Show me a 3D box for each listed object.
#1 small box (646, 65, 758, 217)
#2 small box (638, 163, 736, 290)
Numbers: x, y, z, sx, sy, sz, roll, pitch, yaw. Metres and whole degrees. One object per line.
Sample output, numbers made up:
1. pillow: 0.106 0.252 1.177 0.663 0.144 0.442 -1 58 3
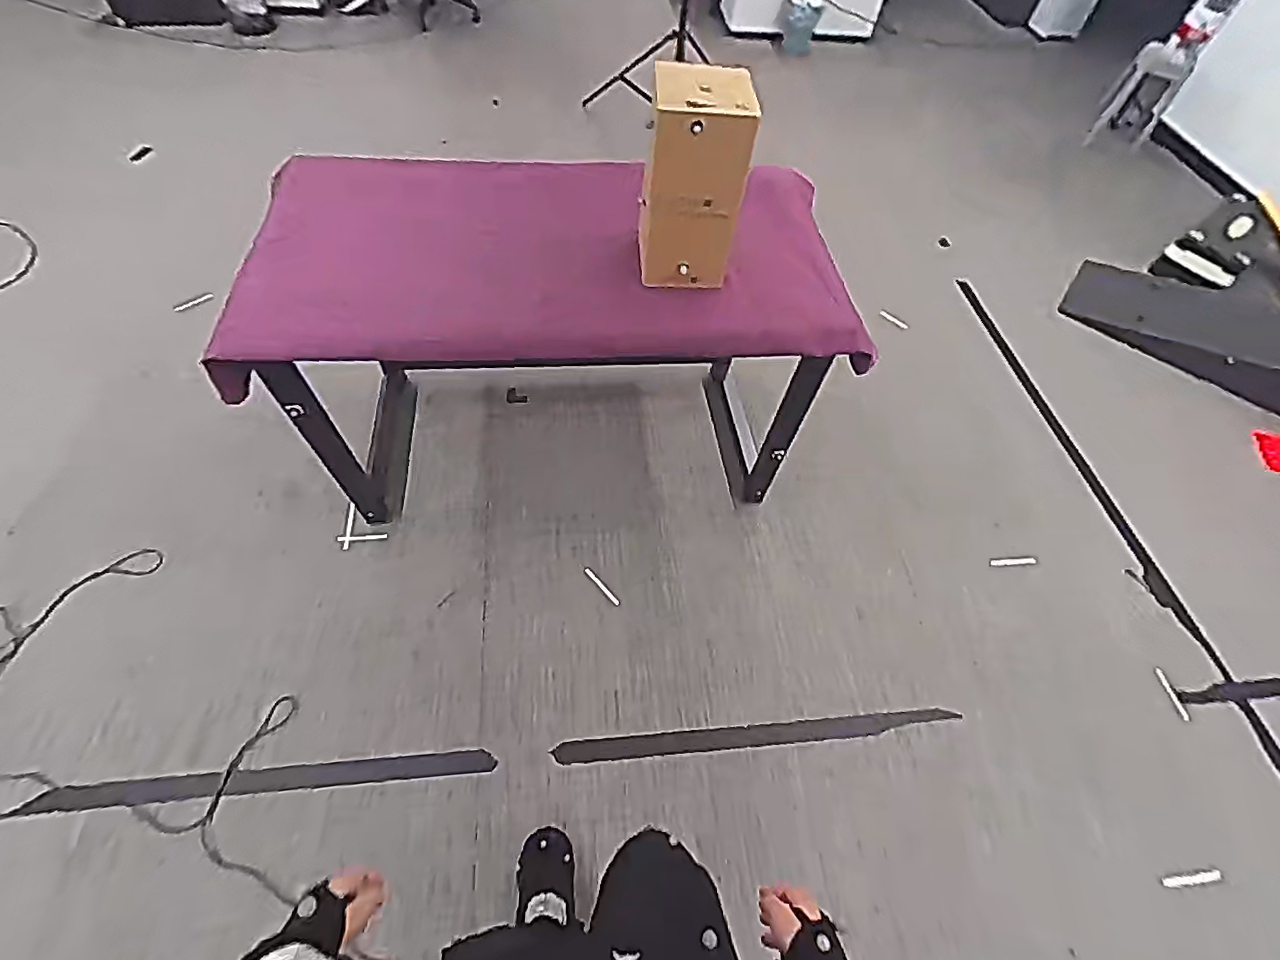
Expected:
1. small box: 0.098 -0.595 0.954 0.168 0.176 0.179 1 57 -4
2. small box: 0.086 -0.511 1.095 0.168 0.176 0.179 -1 58 -5
